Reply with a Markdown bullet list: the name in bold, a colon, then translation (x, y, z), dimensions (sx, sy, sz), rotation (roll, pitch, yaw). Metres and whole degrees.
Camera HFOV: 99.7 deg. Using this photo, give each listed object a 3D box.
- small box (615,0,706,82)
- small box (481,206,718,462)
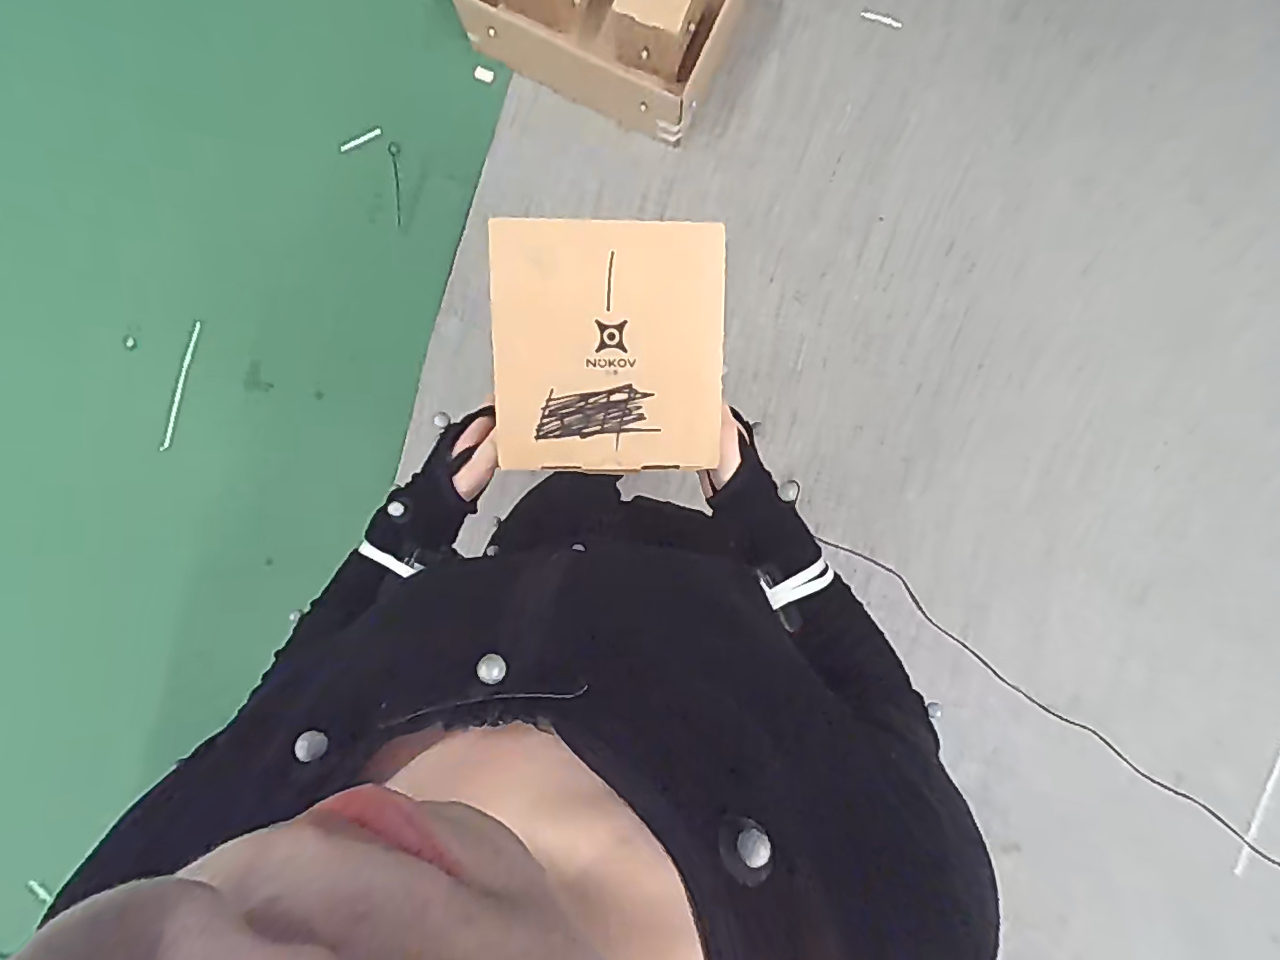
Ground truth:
- **small box**: translation (0.056, -1.101, 1.280), dimensions (0.168, 0.176, 0.179), rotation (22, 95, 1)
- **small box**: translation (-0.032, -0.113, 0.463), dimensions (0.168, 0.176, 0.179), rotation (0, 99, -3)
